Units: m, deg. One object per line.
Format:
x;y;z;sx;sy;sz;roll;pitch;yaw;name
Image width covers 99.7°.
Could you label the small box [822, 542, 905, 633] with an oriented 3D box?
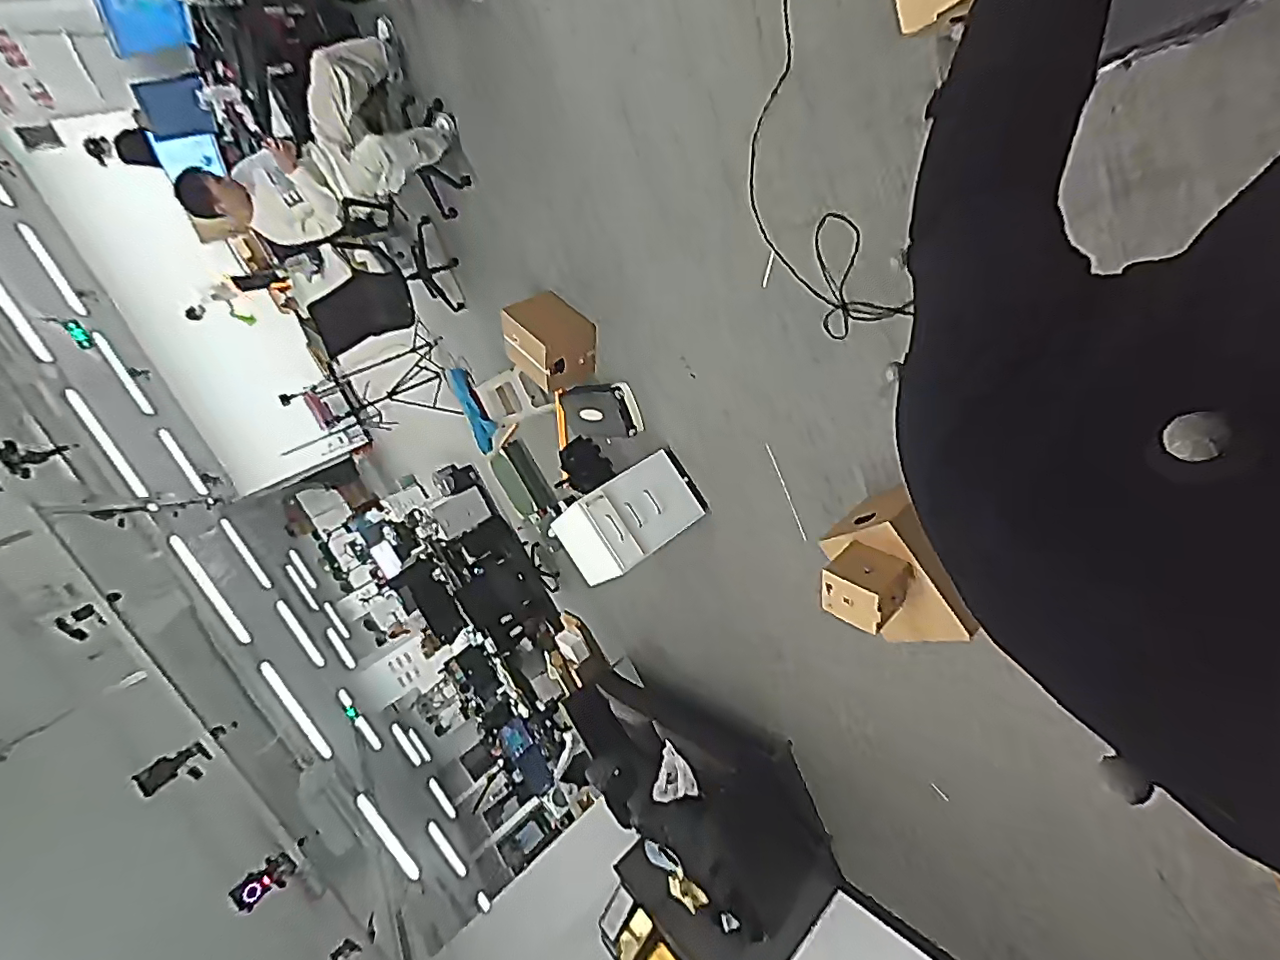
0.664;0.312;1.609;0.179;0.176;0.168;24;136;43;small box
